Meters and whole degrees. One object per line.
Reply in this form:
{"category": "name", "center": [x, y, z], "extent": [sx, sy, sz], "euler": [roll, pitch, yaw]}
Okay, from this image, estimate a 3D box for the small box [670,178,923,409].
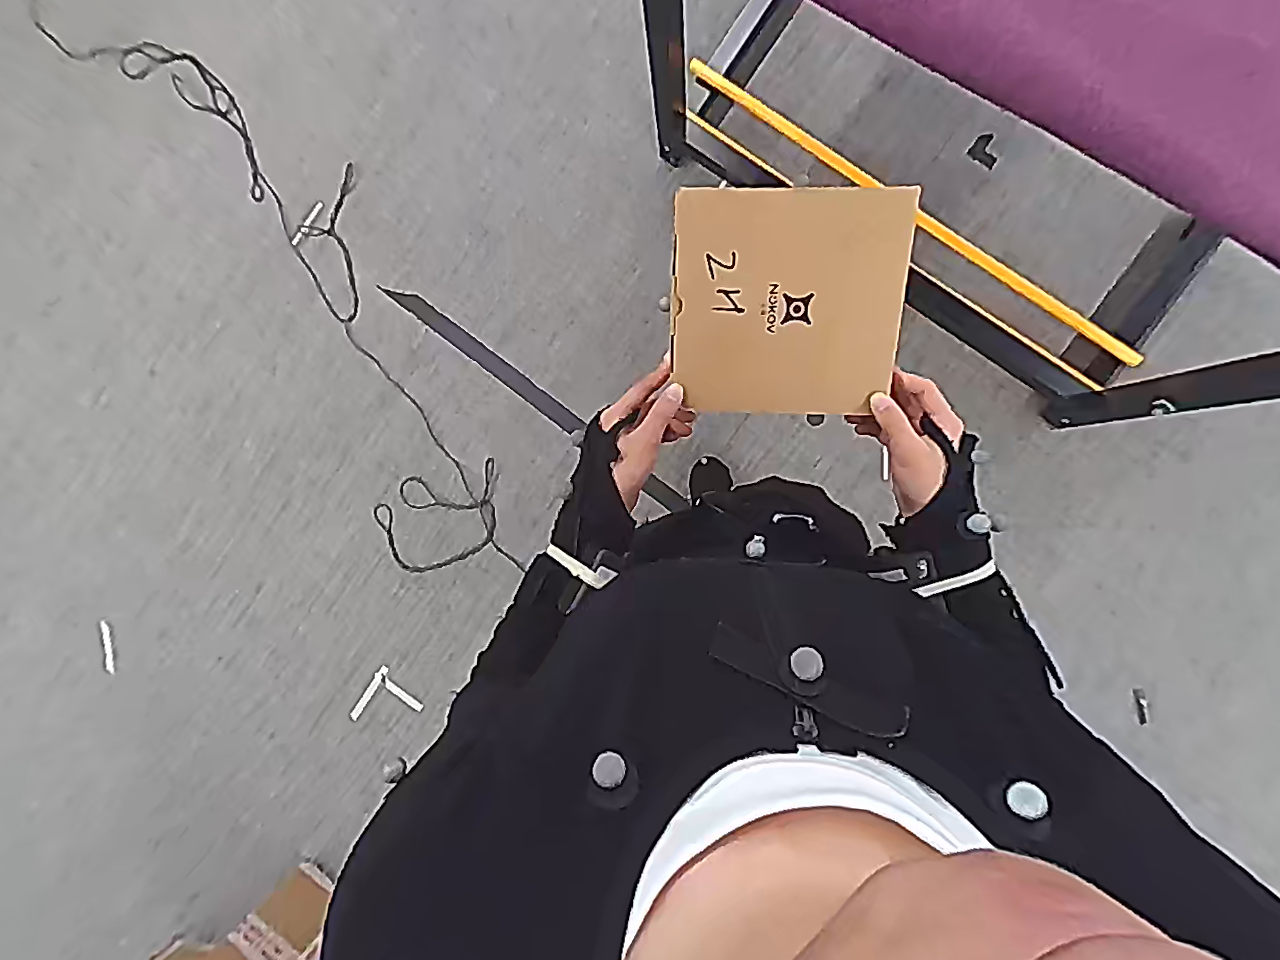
{"category": "small box", "center": [0.120, -0.163, 0.489], "extent": [0.179, 0.176, 0.168], "euler": [3, 107, 5]}
